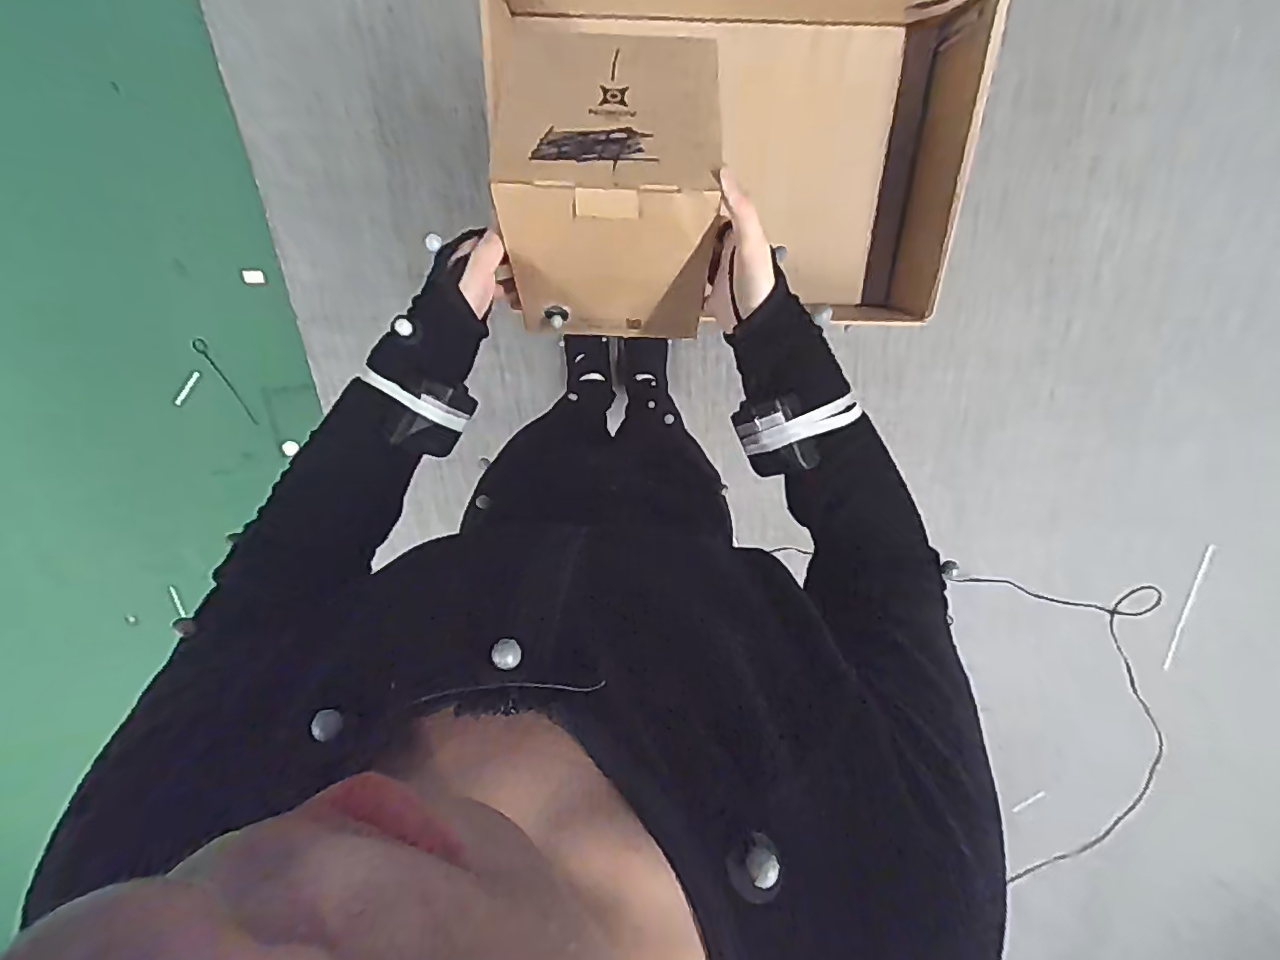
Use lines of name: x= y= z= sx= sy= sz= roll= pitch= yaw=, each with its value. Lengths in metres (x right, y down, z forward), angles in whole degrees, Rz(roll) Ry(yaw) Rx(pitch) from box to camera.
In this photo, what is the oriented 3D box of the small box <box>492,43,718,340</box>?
small box: x=-0.023 y=-0.247 z=0.489 sx=0.168 sy=0.179 sz=0.176 roll=3 pitch=156 yaw=-1
